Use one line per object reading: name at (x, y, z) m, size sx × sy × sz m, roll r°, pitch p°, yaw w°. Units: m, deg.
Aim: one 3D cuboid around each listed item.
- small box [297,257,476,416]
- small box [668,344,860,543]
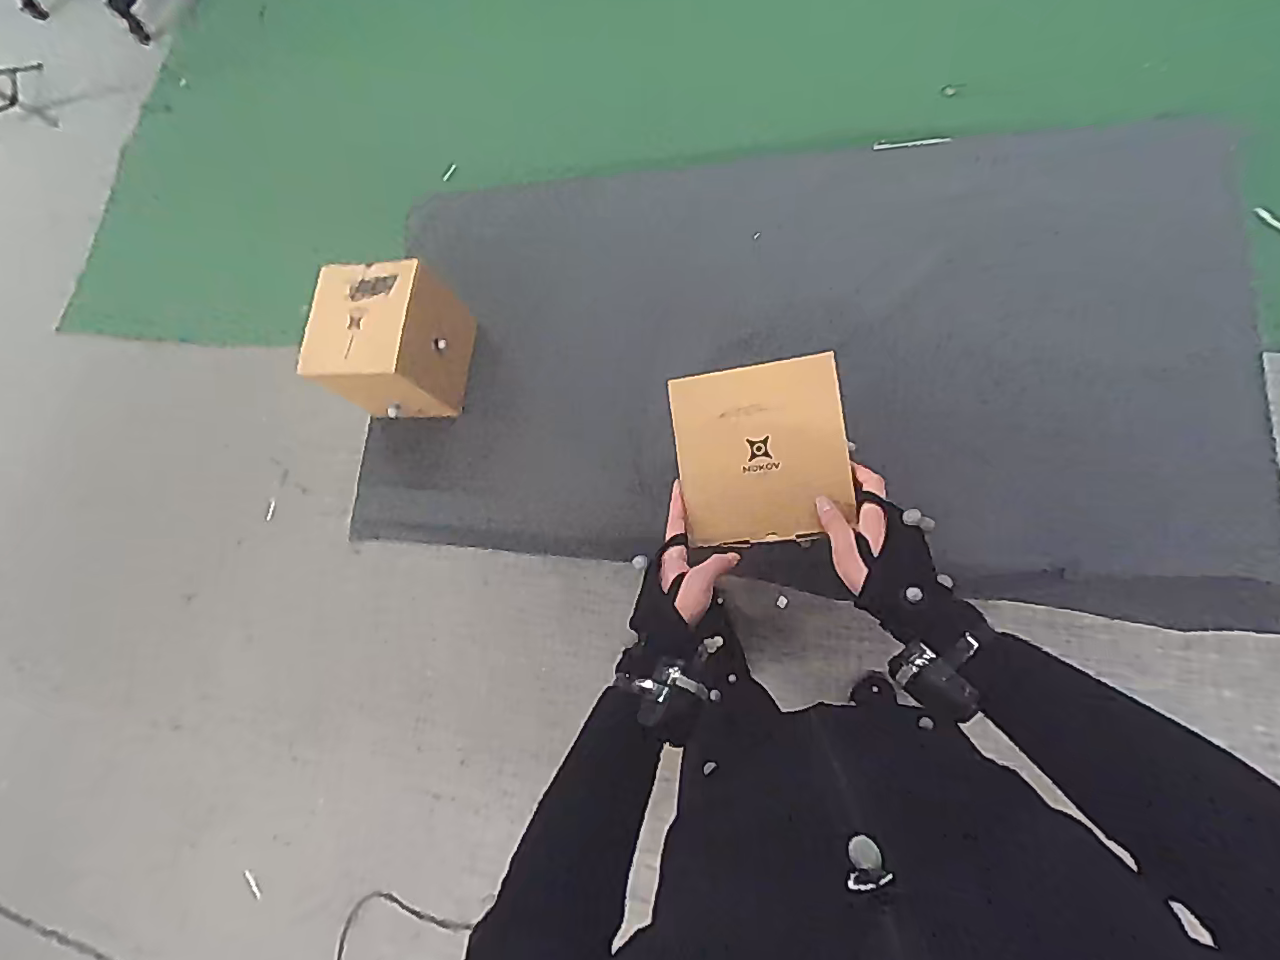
small box at (-0.372, -0.212, 0.828) m, size 0.168 × 0.176 × 0.179 m, roll 2°, pitch 76°, yaw 14°
small box at (0.133, -0.030, 0.600) m, size 0.168 × 0.176 × 0.179 m, roll -8°, pitch 84°, yaw 11°
